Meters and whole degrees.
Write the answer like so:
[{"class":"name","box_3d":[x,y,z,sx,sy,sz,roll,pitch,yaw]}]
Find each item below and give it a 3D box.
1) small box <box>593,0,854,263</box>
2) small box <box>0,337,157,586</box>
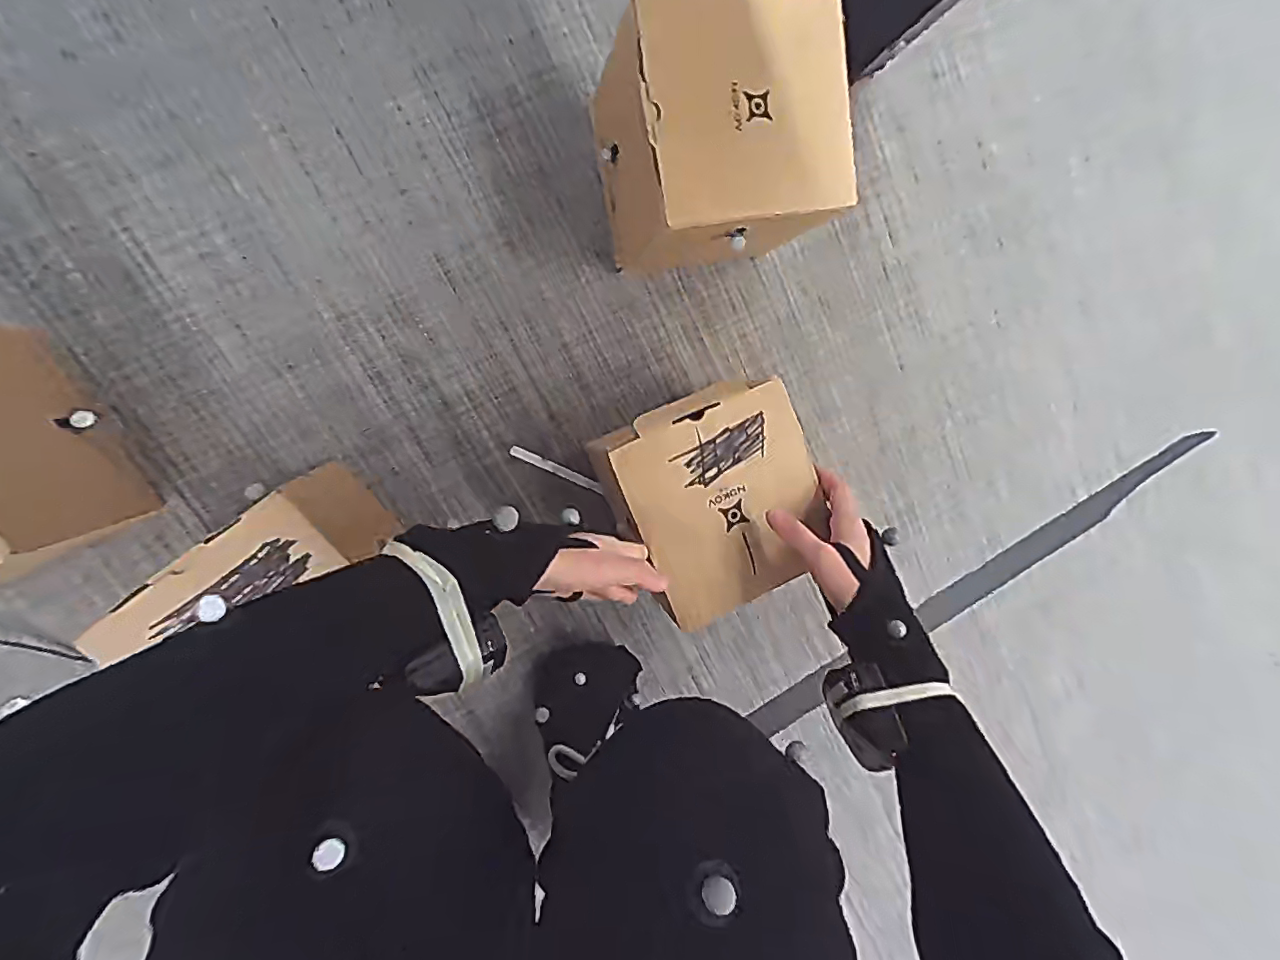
[{"class":"small box","box_3d":[0.066,-0.310,0.498,0.179,0.176,0.168,-13,102,-12]},{"class":"small box","box_3d":[-0.522,-0.002,0.388,0.168,0.176,0.179,-28,103,-10]}]
